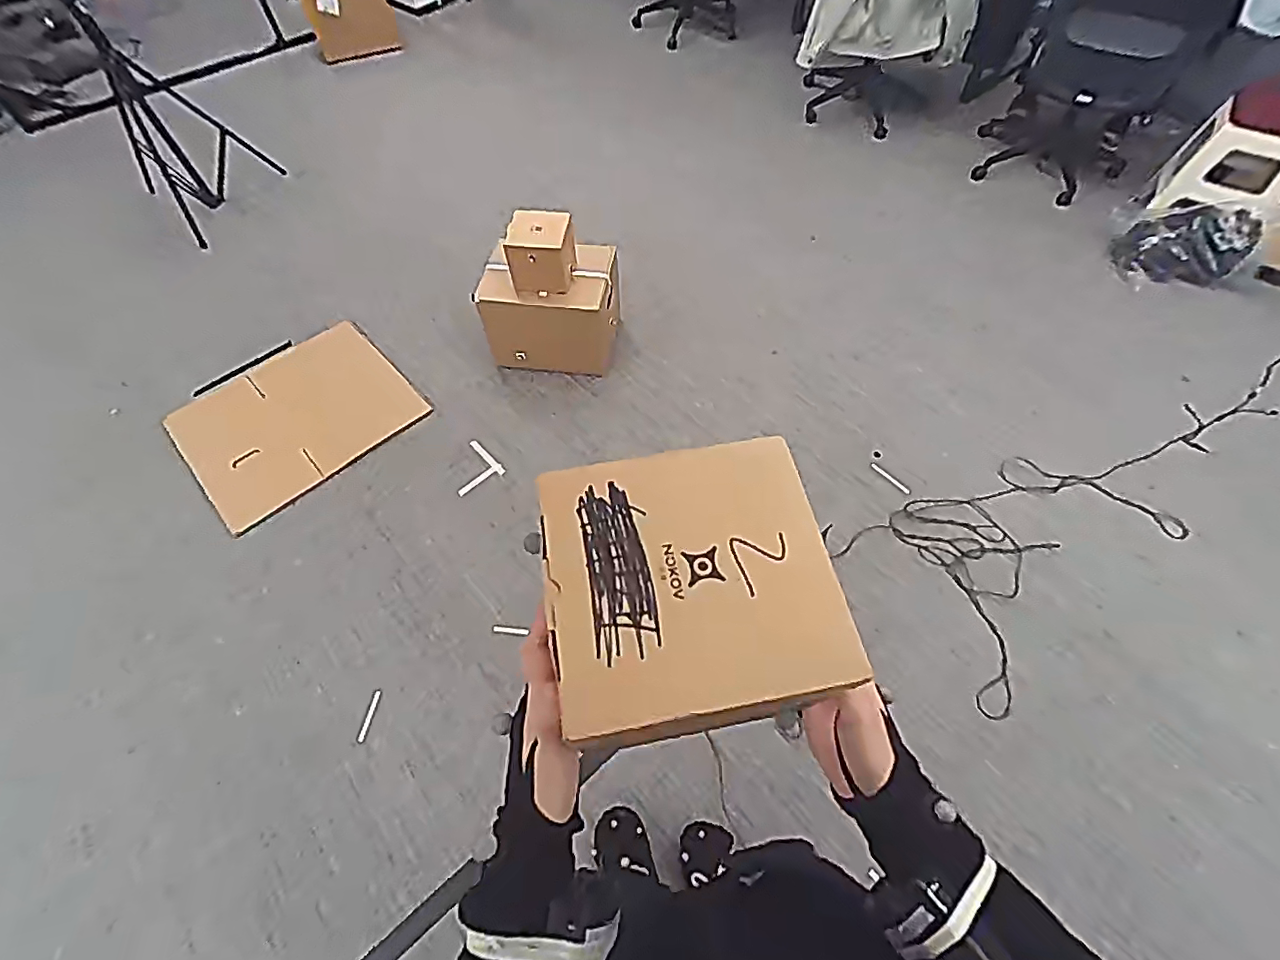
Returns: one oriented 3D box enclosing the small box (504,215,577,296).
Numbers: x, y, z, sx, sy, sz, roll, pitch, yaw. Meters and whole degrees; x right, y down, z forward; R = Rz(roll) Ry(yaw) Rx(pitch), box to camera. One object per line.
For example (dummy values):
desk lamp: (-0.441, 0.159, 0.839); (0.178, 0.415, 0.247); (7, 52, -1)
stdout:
small box: (-0.301, -0.693, 1.674); (0.179, 0.176, 0.168); (5, 61, 3)
